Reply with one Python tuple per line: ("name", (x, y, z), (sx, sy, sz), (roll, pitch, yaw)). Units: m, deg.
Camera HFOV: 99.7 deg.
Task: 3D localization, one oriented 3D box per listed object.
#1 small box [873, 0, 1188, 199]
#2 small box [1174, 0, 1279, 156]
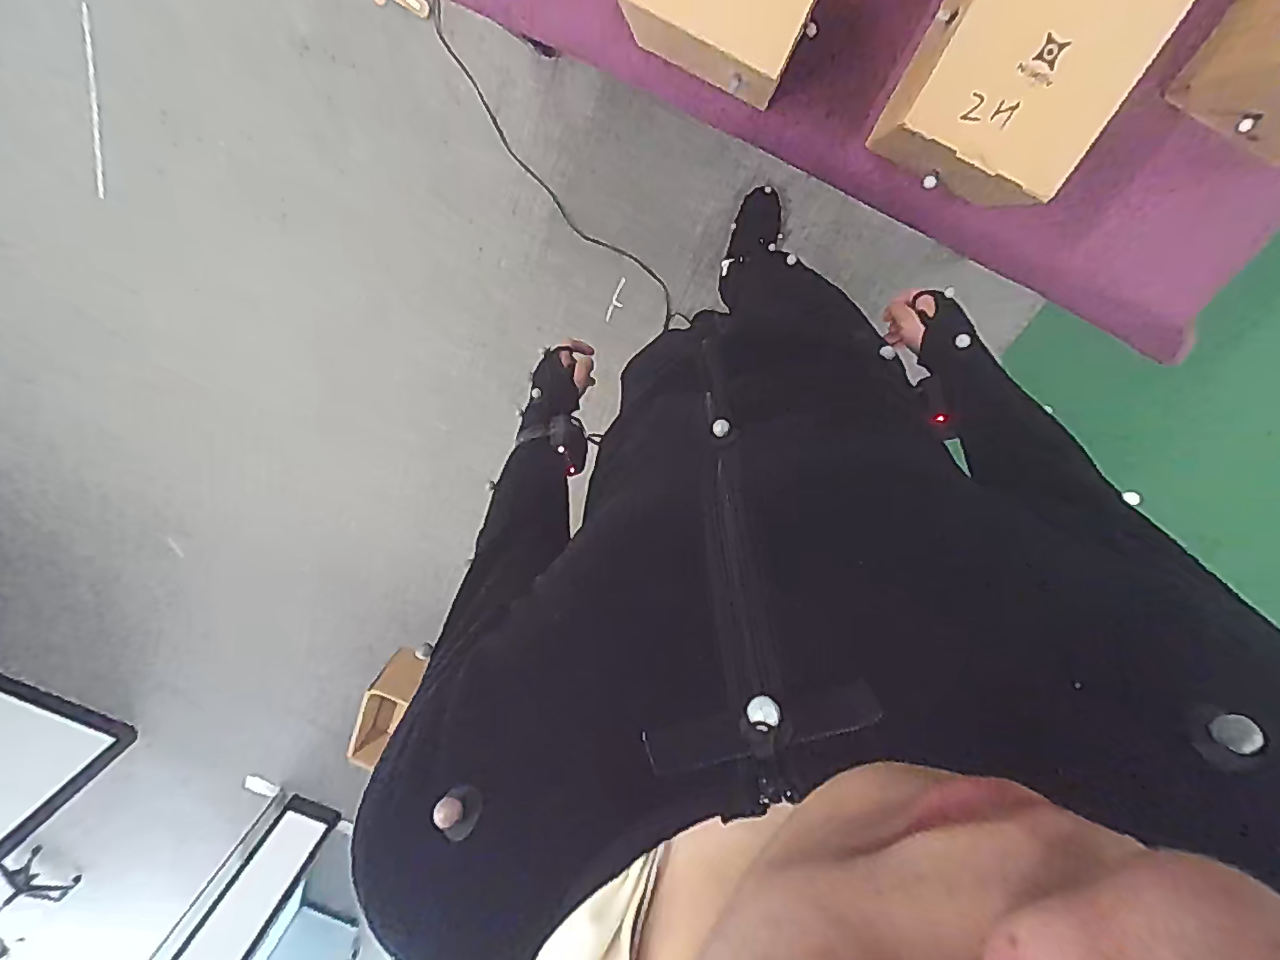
("small box", (0.370, -0.414, 0.555), (0.168, 0.176, 0.179), (26, 117, -3))
("small box", (0.677, -0.428, 0.496), (0.168, 0.176, 0.179), (27, 119, -3))
